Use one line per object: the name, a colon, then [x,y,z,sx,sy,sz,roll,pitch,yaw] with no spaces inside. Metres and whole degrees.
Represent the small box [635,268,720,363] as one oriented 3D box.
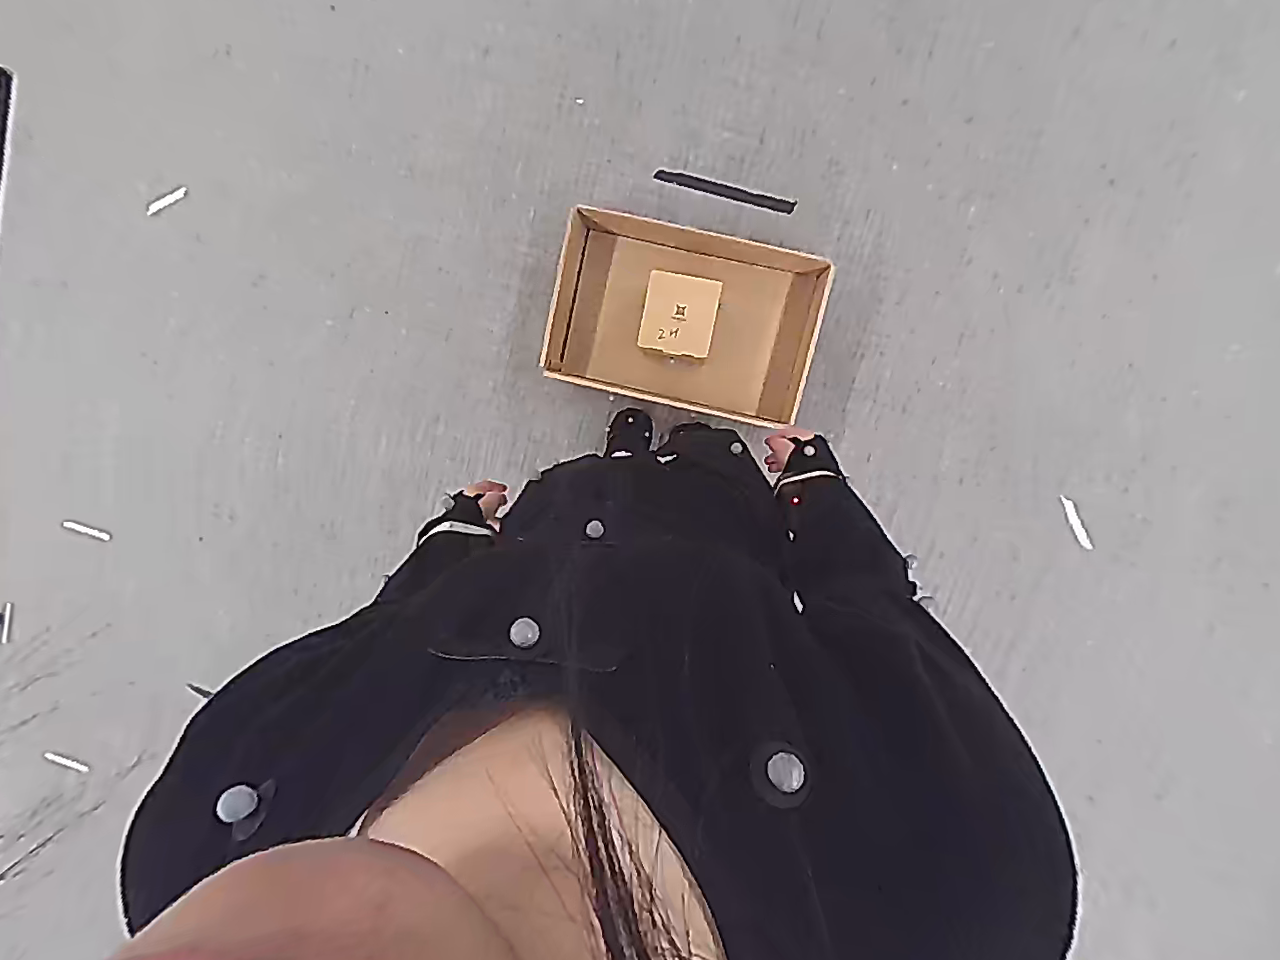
small box: [0.089,-0.388,1.303,0.168,0.176,0.179,12,98,3]
